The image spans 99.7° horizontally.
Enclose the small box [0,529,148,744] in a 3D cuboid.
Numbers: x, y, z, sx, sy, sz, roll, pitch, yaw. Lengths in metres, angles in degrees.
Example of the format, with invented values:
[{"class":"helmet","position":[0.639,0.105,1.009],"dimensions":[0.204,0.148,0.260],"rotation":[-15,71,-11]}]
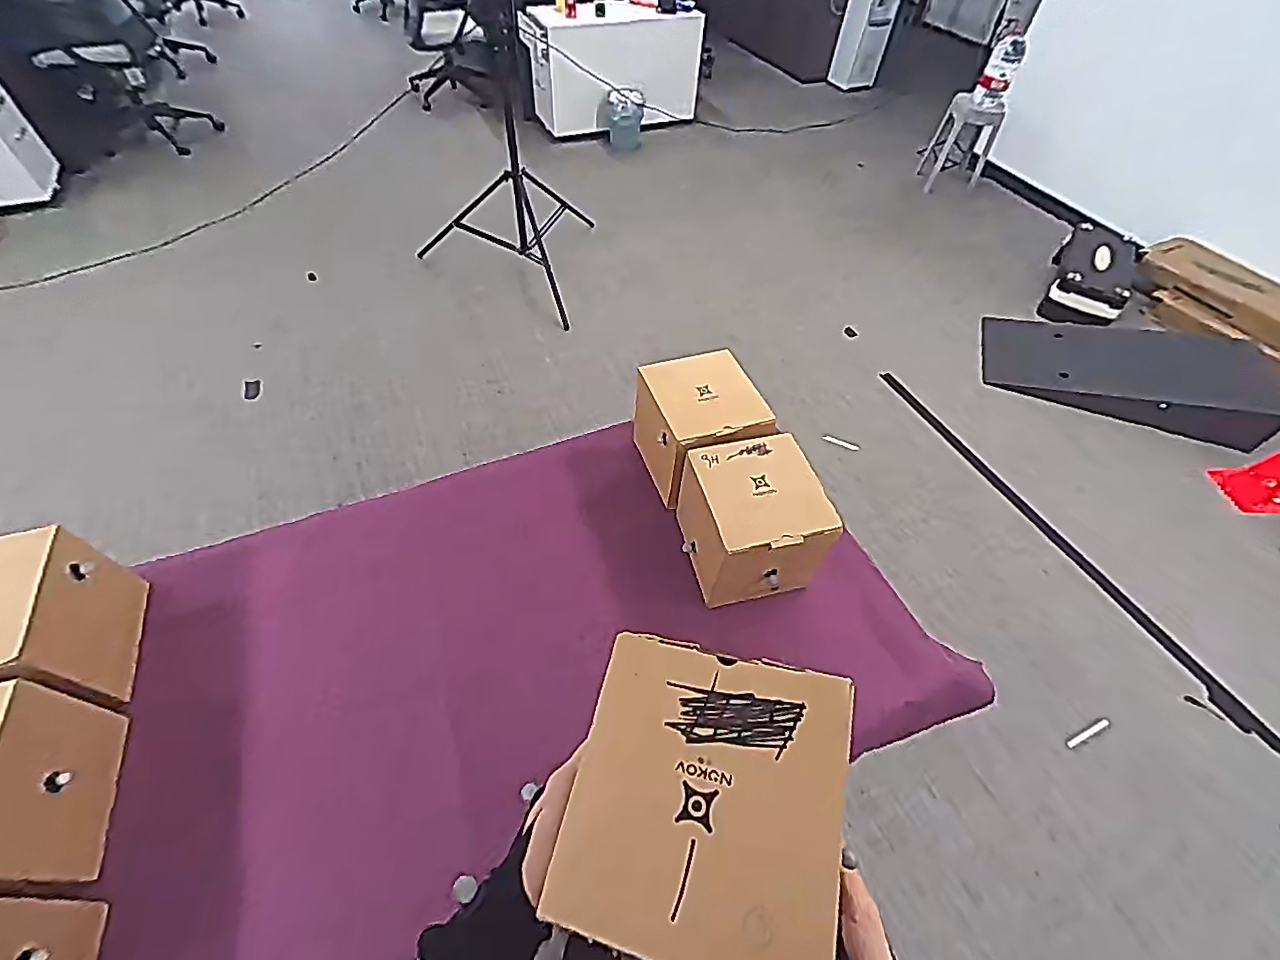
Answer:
[{"class":"small box","position":[-0.741,0.190,0.643],"dimensions":[0.168,0.176,0.179],"rotation":[-15,56,-14]}]

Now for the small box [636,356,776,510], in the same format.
[{"class":"small box","position":[0.097,-0.078,0.908],"dimensions":[0.168,0.176,0.179],"rotation":[-14,54,-15]}]

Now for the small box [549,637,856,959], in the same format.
[{"class":"small box","position":[0.060,0.241,0.400],"dimensions":[0.168,0.176,0.179],"rotation":[5,56,19]}]
